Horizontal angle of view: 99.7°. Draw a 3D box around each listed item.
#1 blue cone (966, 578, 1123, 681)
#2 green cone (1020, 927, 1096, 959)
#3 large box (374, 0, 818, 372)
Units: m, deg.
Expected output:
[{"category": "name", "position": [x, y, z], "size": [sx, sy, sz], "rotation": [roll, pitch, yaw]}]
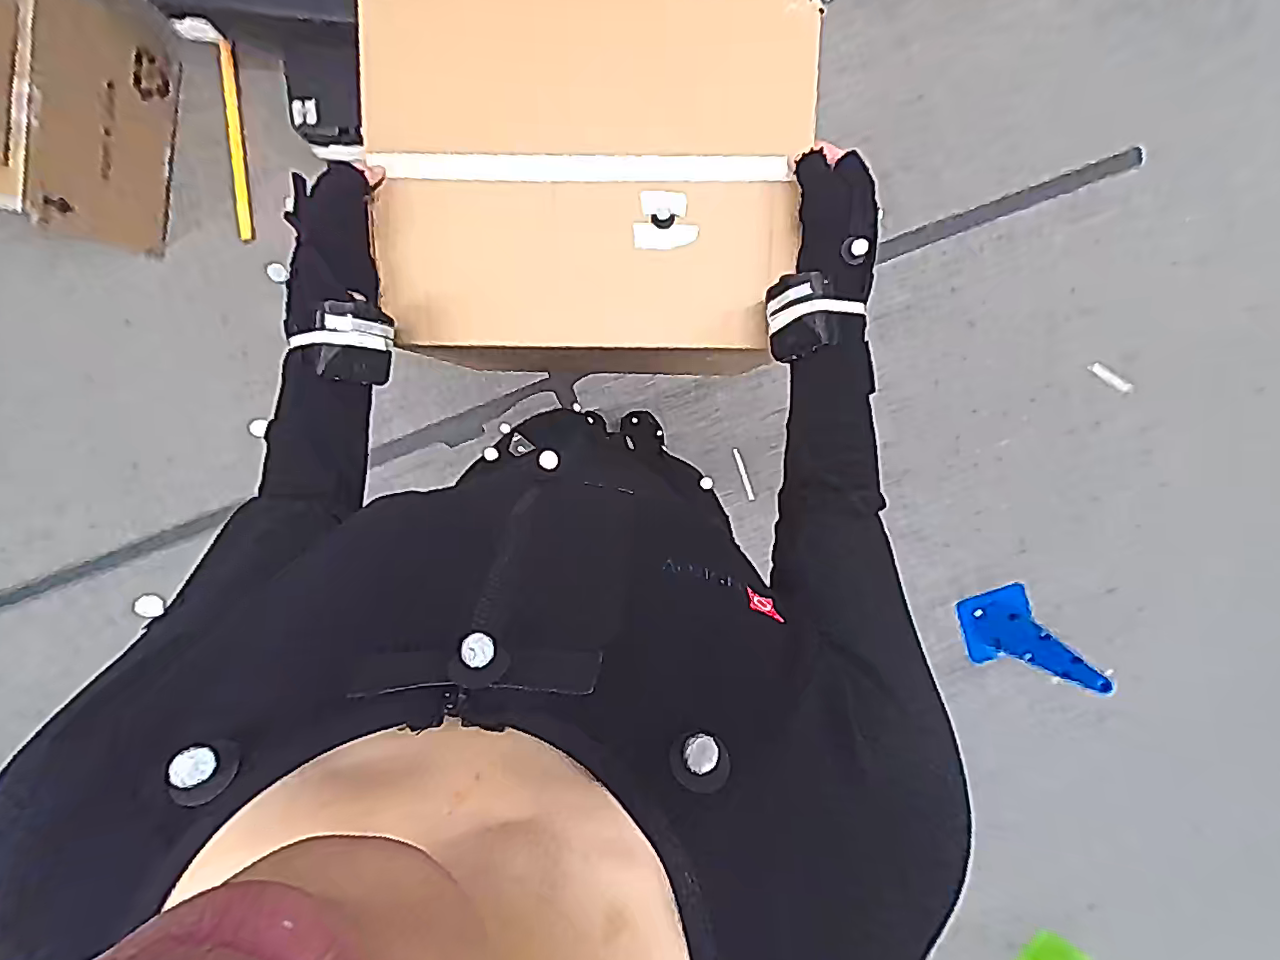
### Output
[{"category": "blue cone", "position": [1.026, 0.406, 1.365], "size": [0.192, 0.380, 0.193], "rotation": [-17, 97, 1]}, {"category": "green cone", "position": [1.273, 1.504, 1.485], "size": [0.200, 0.368, 0.202], "rotation": [32, 95, -4]}, {"category": "large box", "position": [-0.044, -0.300, 0.644], "size": [0.408, 0.320, 0.320], "rotation": [1, 97, -1]}]
